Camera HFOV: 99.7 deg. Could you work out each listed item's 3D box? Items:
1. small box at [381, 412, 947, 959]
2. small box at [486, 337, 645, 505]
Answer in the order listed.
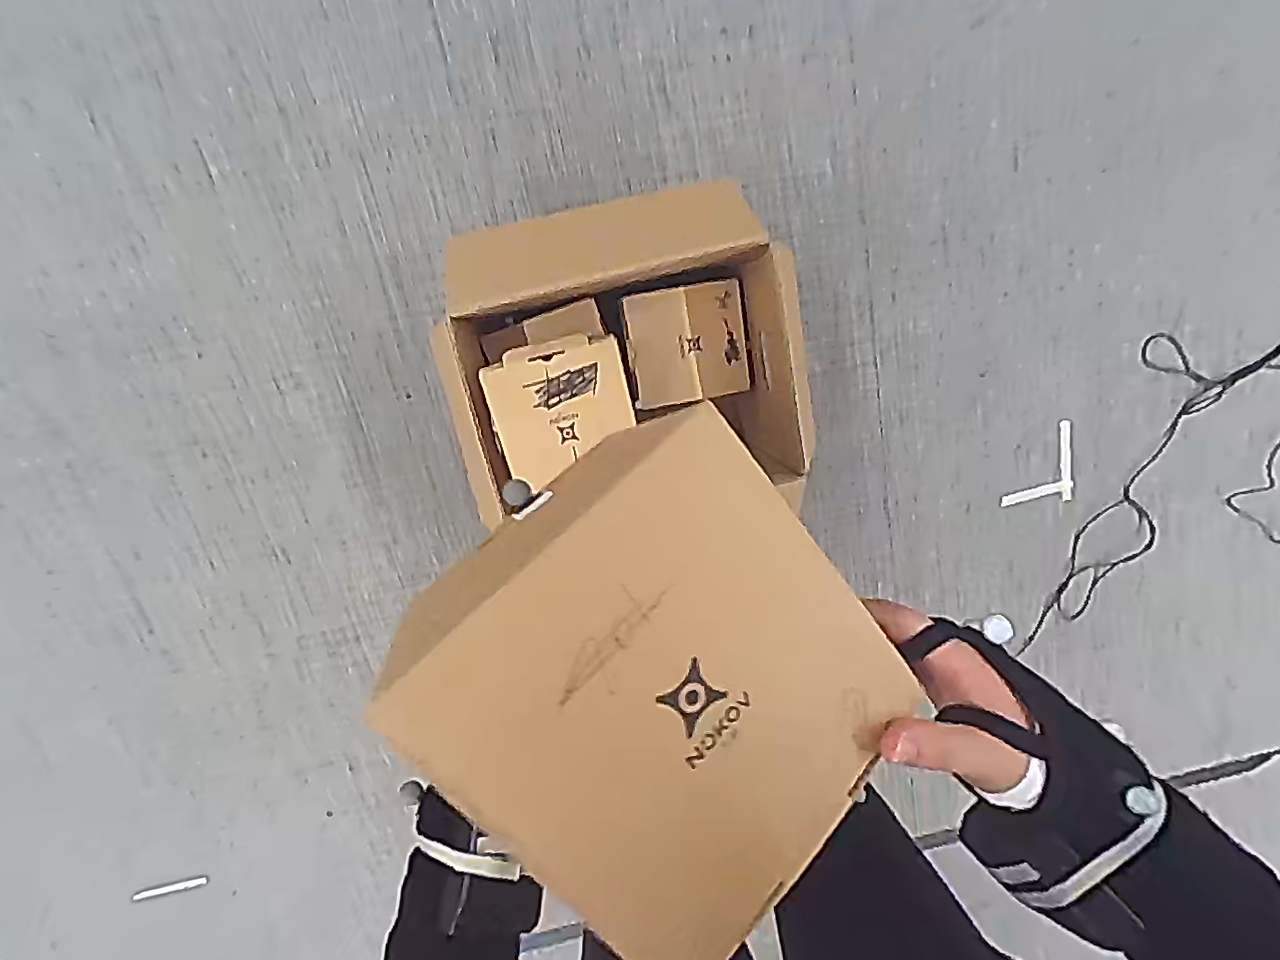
[{"bbox_3d":[0.002,0.088,0.280,0.168,0.176,0.179,-43,102,-16],"label":"small box"},{"bbox_3d":[-0.088,-0.087,0.722,0.168,0.176,0.179,-14,107,0],"label":"small box"}]
